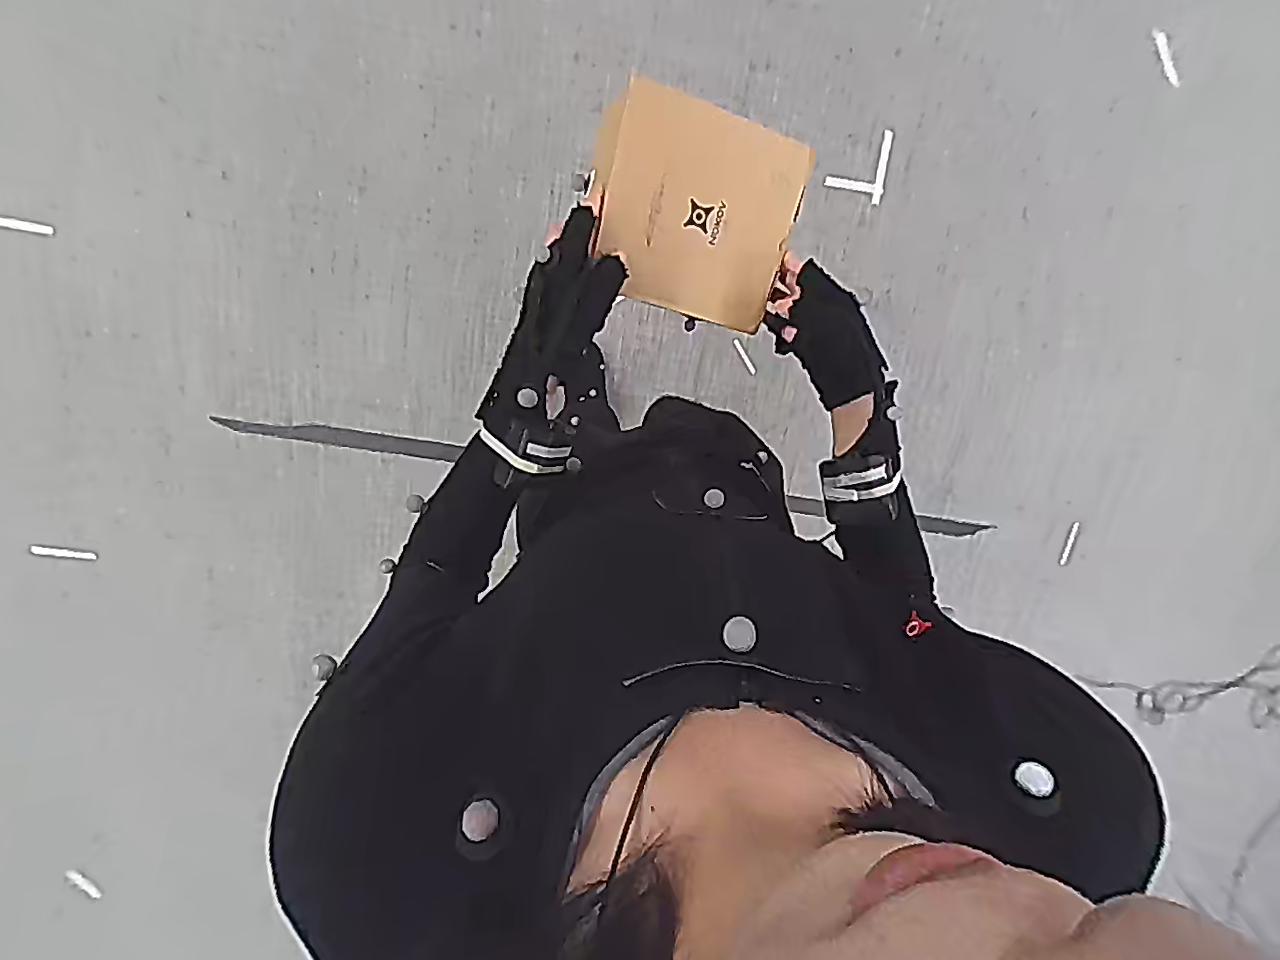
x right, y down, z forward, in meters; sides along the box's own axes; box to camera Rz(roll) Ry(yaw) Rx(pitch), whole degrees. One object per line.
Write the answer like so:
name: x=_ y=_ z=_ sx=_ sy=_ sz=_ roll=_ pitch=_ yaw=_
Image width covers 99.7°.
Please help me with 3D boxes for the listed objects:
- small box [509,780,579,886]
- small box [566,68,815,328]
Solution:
small box: x=-0.254 y=0.943 z=1.450 sx=0.168 sy=0.176 sz=0.179 roll=4 pitch=104 yaw=-7
small box: x=0.034 y=-0.265 z=0.544 sx=0.179 sy=0.176 sz=0.168 roll=10 pitch=108 yaw=-18
